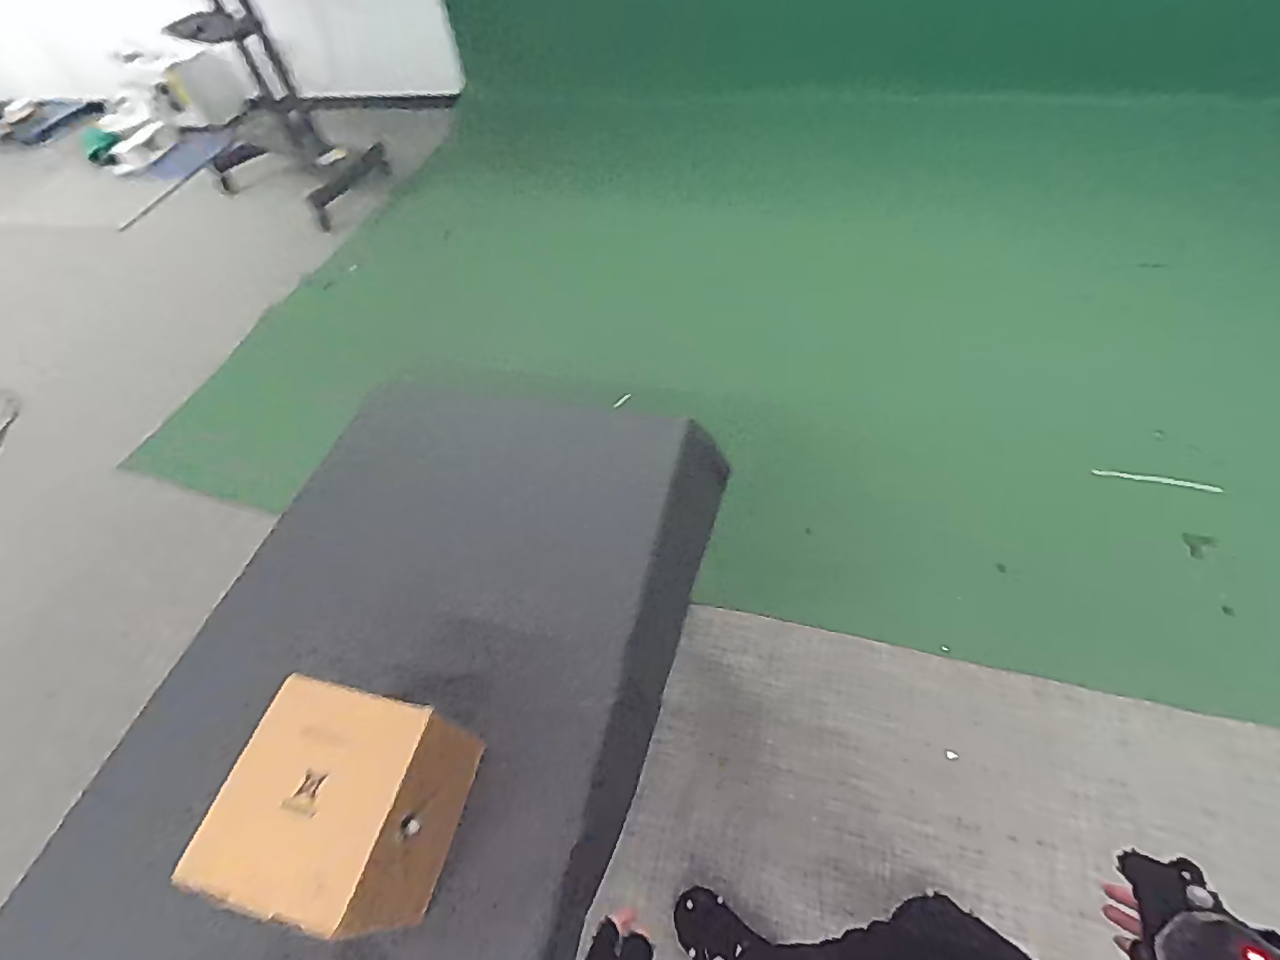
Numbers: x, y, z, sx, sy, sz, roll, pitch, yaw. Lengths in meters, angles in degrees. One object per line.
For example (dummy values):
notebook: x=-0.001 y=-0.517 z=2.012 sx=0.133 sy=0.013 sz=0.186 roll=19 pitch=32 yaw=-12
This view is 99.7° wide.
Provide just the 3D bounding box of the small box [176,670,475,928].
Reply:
small box: x=-0.295 y=0.322 z=0.558 sx=0.168 sy=0.176 sz=0.179 roll=9 pitch=56 yaw=12
